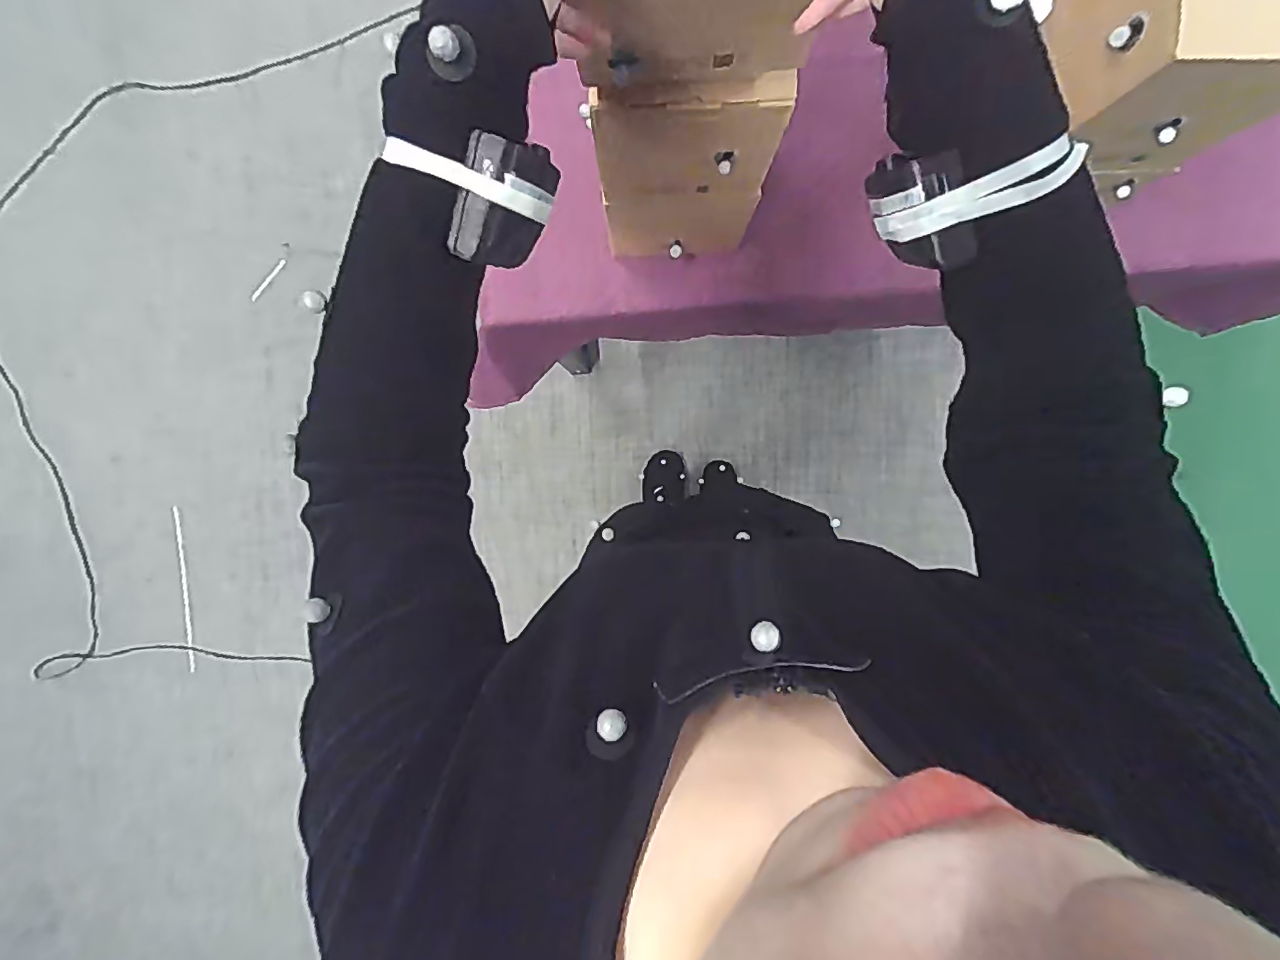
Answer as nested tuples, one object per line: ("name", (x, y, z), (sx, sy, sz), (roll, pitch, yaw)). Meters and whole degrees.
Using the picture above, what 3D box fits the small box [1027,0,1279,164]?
("small box", (0.487, -0.411, 0.486), (0.168, 0.176, 0.179), (1, 94, 0))

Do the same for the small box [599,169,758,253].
("small box", (0.040, -0.391, 0.662), (0.179, 0.176, 0.168), (-2, 94, 1))

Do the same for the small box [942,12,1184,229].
("small box", (0.491, -0.417, 0.651), (0.179, 0.176, 0.168), (-1, 94, 1))

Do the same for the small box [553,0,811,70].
("small box", (0.024, -0.372, 0.310), (0.168, 0.176, 0.179), (-2, 98, 3))

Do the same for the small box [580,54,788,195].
("small box", (0.037, -0.384, 0.499), (0.168, 0.176, 0.179), (0, 93, 1))
